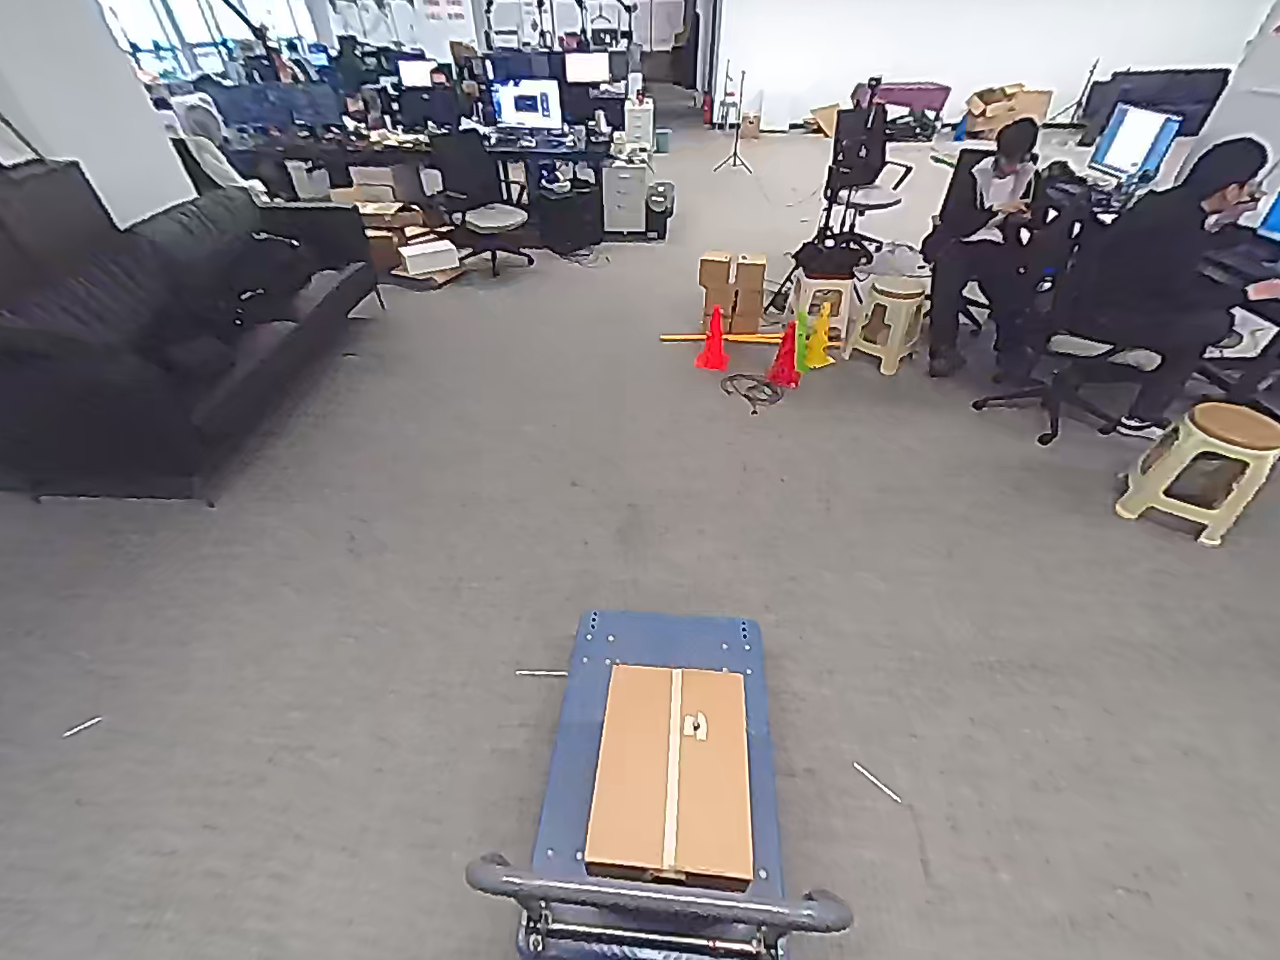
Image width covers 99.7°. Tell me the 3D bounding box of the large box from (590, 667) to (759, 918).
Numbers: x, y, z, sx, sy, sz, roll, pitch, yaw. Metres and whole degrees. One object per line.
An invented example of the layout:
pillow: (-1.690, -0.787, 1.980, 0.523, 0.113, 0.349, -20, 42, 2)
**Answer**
large box: (0.077, 0.693, 1.216, 0.320, 0.320, 0.408, 4, 40, 4)
